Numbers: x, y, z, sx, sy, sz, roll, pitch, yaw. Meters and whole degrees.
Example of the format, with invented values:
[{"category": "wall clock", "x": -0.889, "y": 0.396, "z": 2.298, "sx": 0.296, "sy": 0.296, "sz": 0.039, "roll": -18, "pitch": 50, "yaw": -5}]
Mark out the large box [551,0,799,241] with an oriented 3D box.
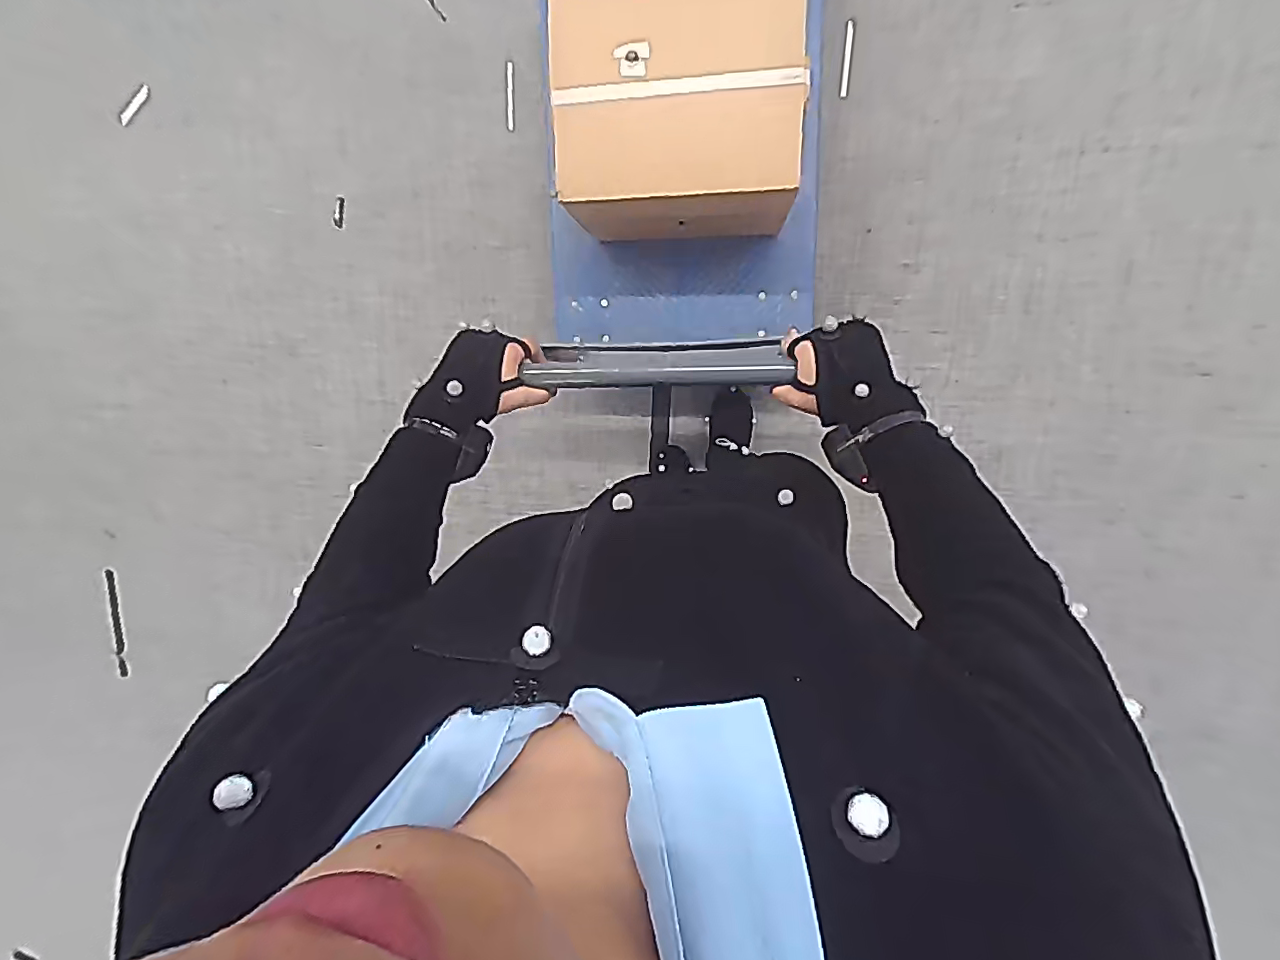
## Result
[{"category": "large box", "x": 0.078, "y": -0.659, "z": 1.028, "sx": 0.408, "sy": 0.320, "sz": 0.320, "roll": 1, "pitch": 101, "yaw": 9}]
